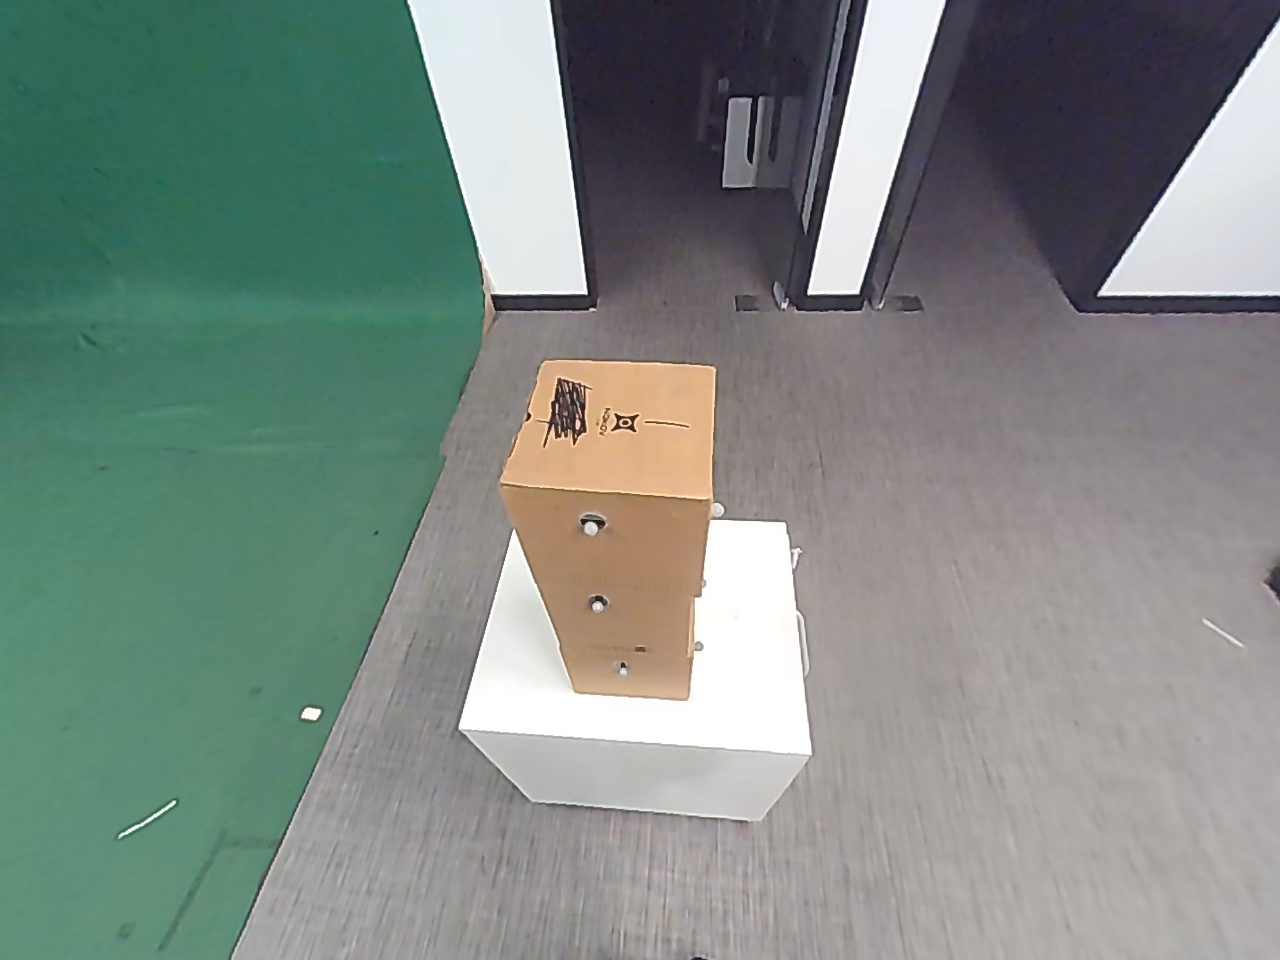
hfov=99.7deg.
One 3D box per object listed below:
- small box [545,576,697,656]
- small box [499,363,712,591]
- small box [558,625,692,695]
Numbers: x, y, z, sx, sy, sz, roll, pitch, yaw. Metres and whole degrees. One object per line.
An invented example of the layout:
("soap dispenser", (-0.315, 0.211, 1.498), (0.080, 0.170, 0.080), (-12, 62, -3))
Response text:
("small box", (-0.015, 0.103, 0.687), (0.168, 0.176, 0.179), (1, 51, 3))
("small box", (-0.020, 0.000, 0.556), (0.179, 0.176, 0.168), (4, 51, 6))
("small box", (-0.011, 0.209, 0.808), (0.179, 0.176, 0.168), (2, 51, 4))
